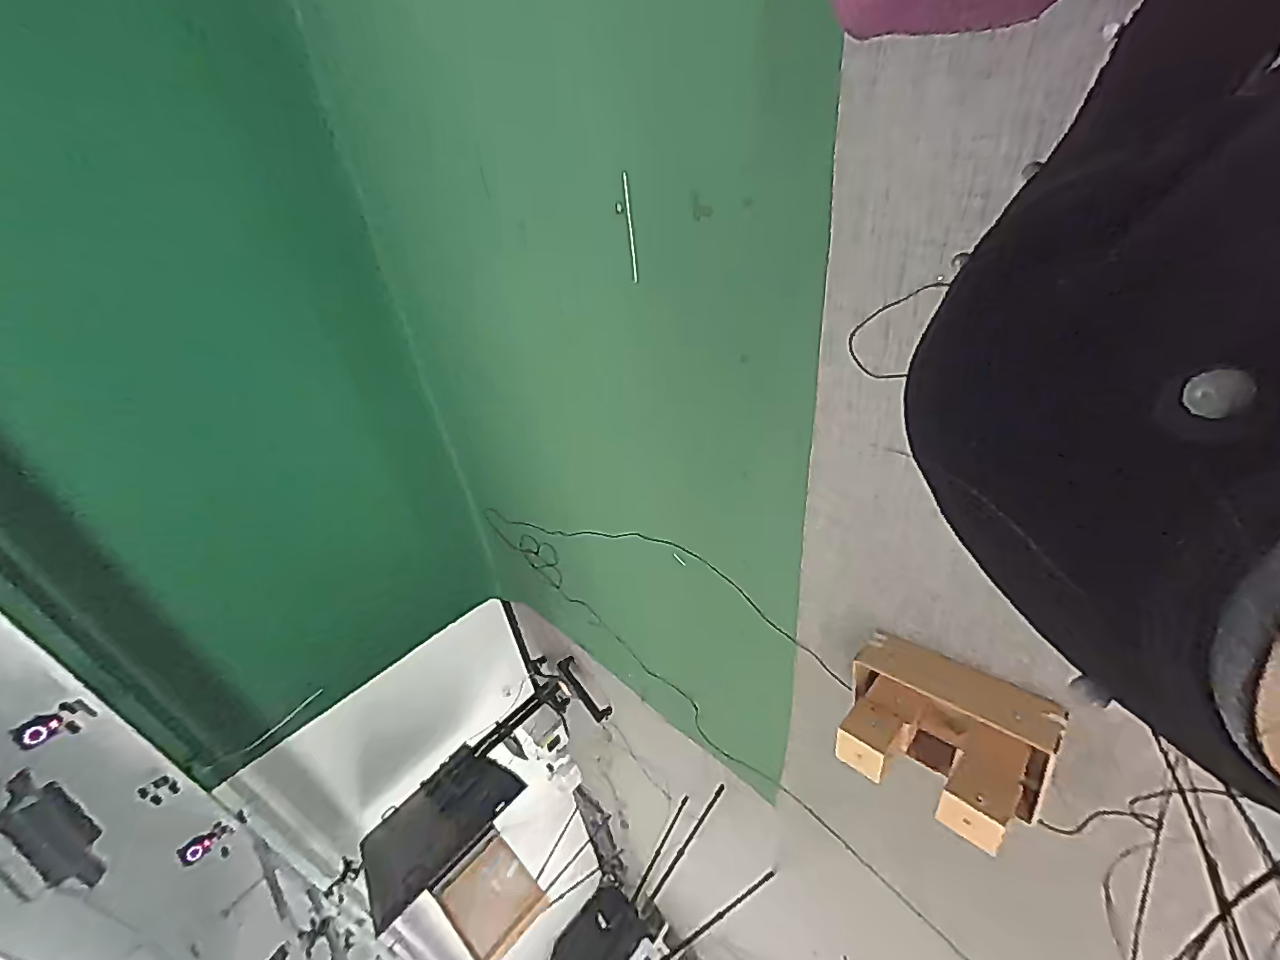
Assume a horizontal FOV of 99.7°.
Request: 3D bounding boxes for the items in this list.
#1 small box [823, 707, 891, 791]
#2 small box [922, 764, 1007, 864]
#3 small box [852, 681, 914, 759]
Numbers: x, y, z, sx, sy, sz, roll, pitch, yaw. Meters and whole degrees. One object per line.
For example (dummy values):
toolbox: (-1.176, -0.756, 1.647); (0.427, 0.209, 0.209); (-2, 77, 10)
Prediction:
small box: (0.780, 0.958, 1.940); (0.168, 0.176, 0.179); (23, 132, 40)
small box: (1.029, 1.047, 1.712); (0.179, 0.176, 0.168); (23, 131, 40)
small box: (0.905, 0.892, 2.027); (0.179, 0.176, 0.168); (21, 131, 39)
